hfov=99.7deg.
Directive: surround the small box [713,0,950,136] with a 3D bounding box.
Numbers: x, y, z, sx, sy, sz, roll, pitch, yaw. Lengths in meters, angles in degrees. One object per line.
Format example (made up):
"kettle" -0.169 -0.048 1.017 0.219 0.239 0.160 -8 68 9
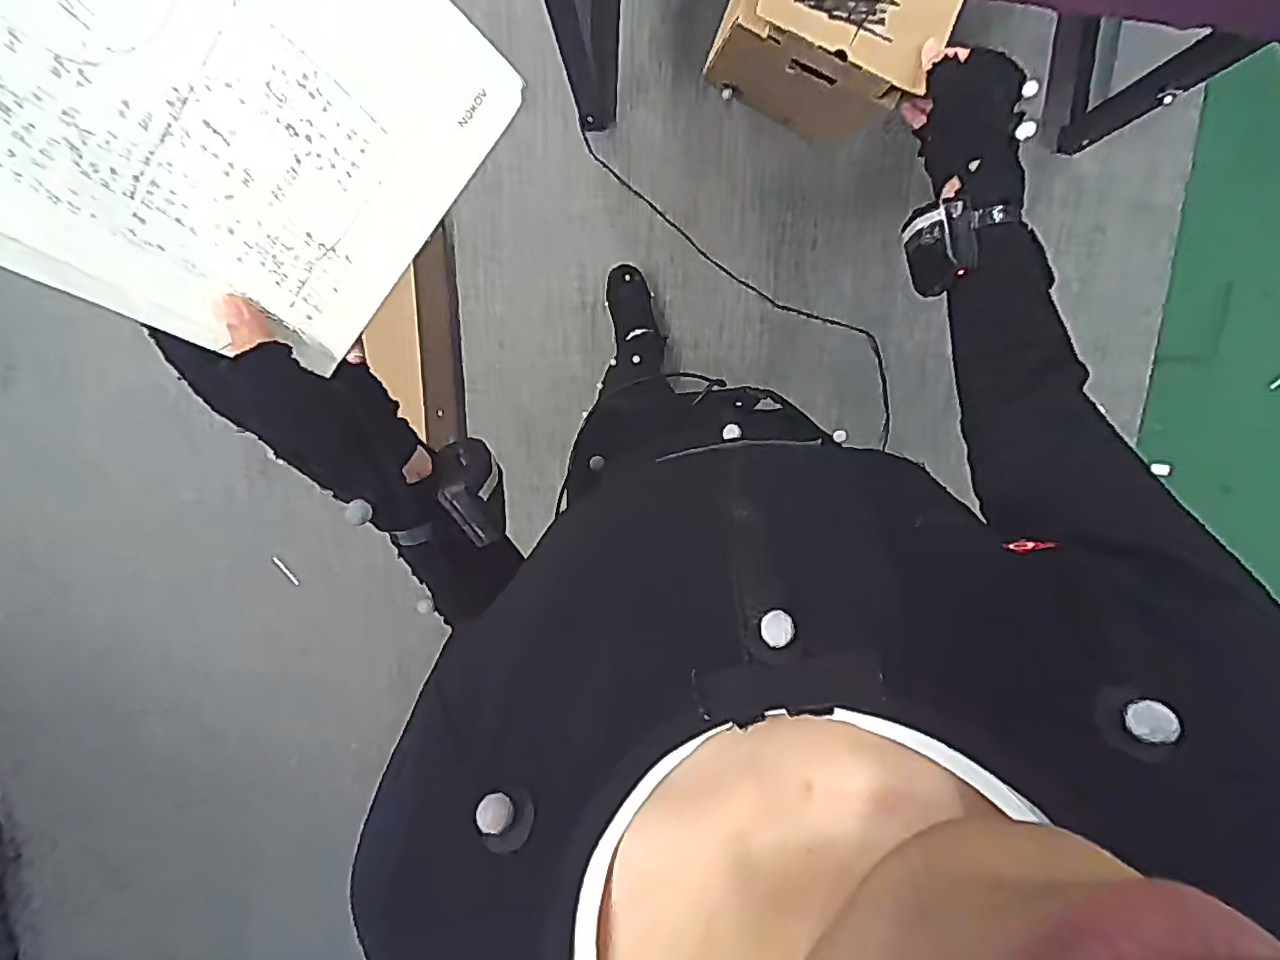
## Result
"small box" 0.183 -0.466 0.514 0.168 0.176 0.179 20 108 -13
